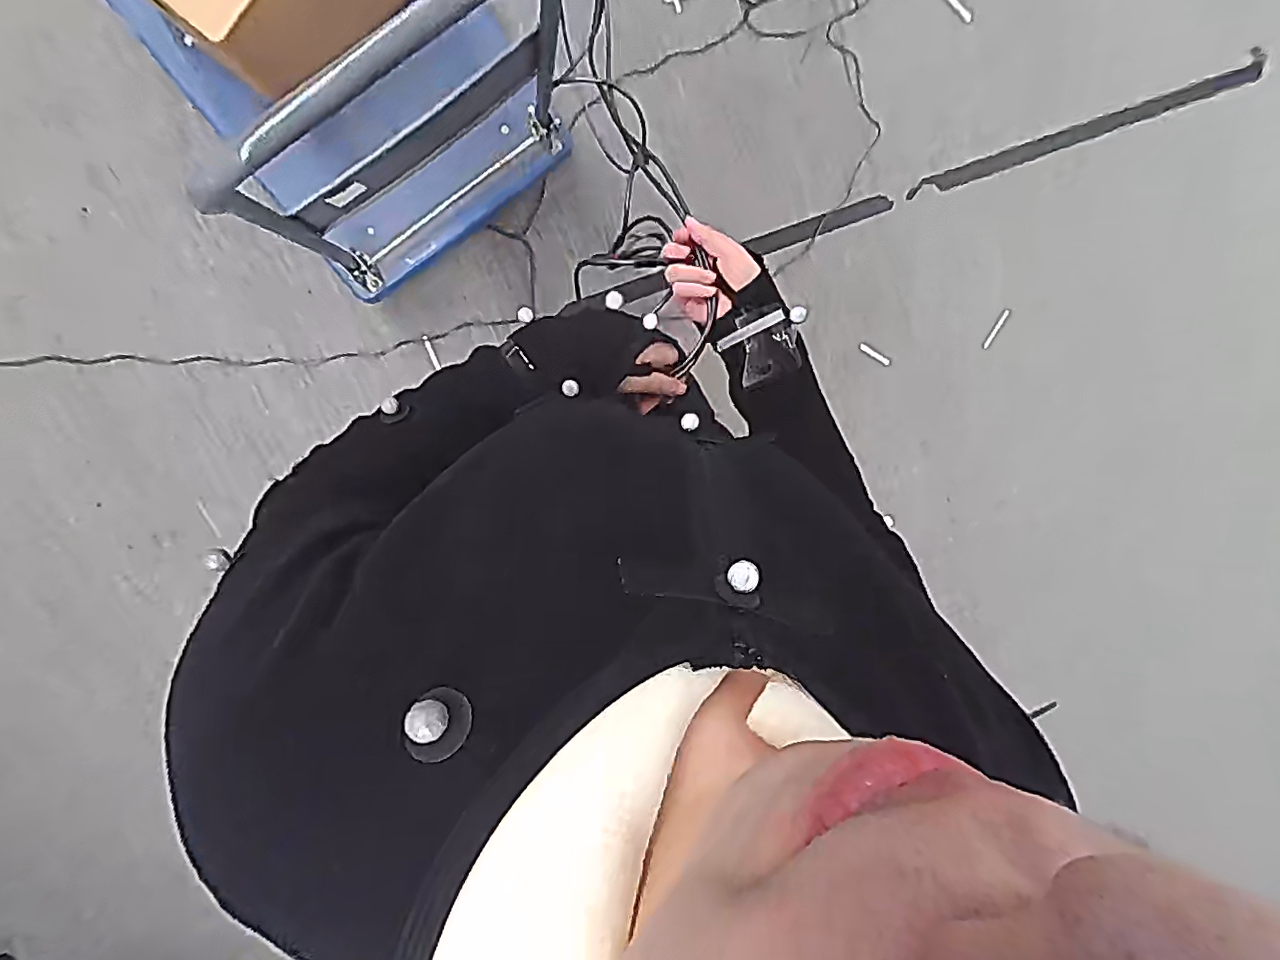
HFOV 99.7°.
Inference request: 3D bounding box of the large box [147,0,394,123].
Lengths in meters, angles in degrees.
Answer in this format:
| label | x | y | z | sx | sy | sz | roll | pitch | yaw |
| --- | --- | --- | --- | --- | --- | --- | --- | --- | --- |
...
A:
| label | x | y | z | sx | sy | sz | roll | pitch | yaw |
| --- | --- | --- | --- | --- | --- | --- | --- | --- | --- |
| large box | -0.629 | -0.907 | 0.871 | 0.320 | 0.320 | 0.408 | 38 | 93 | -16 |
